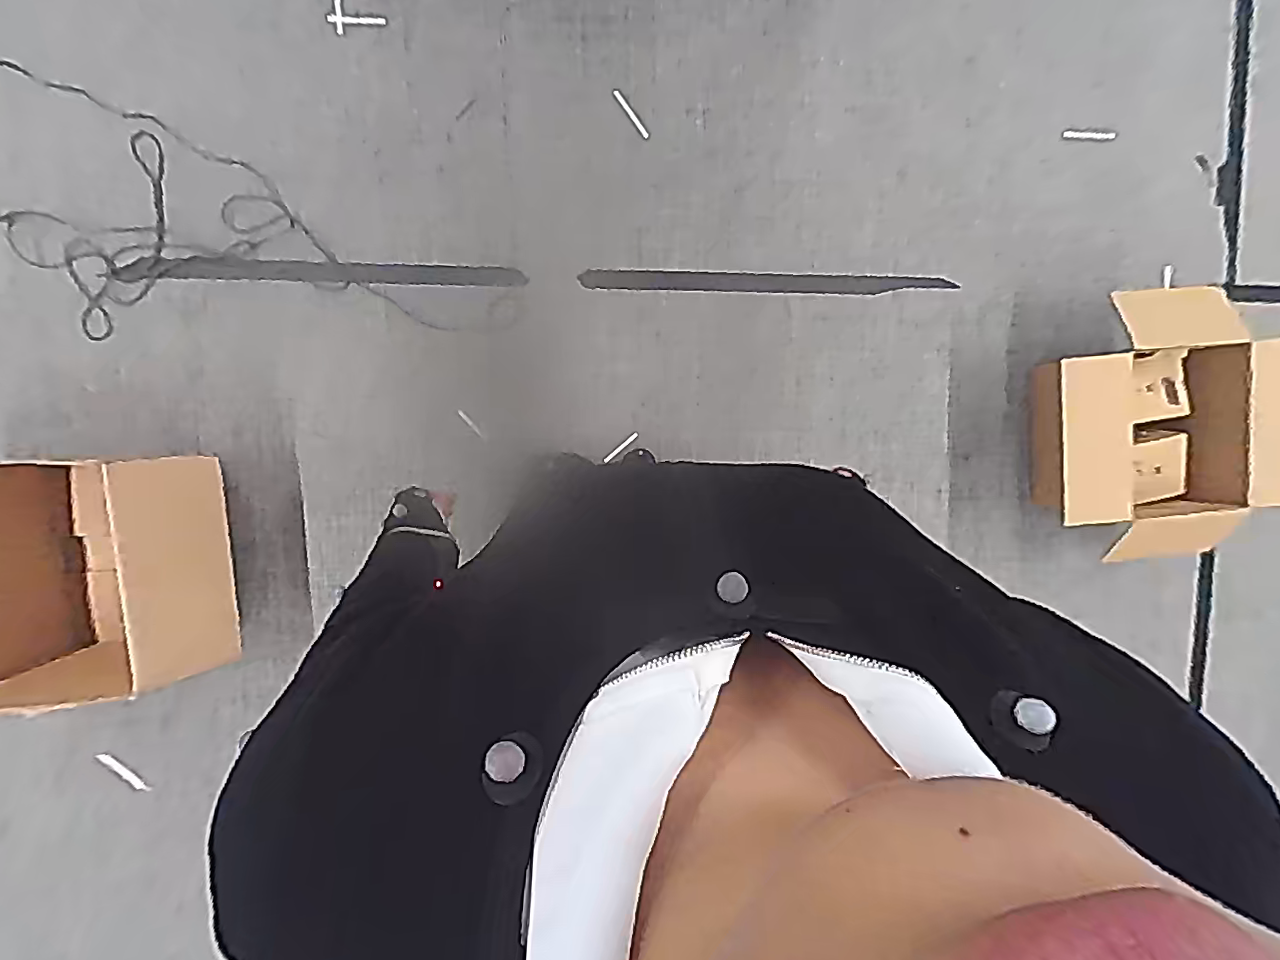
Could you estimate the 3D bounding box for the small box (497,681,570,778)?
[{"bbox_3d":[-0.268,0.634,1.392,0.168,0.176,0.179,3,93,-6],"label":"small box"}]
